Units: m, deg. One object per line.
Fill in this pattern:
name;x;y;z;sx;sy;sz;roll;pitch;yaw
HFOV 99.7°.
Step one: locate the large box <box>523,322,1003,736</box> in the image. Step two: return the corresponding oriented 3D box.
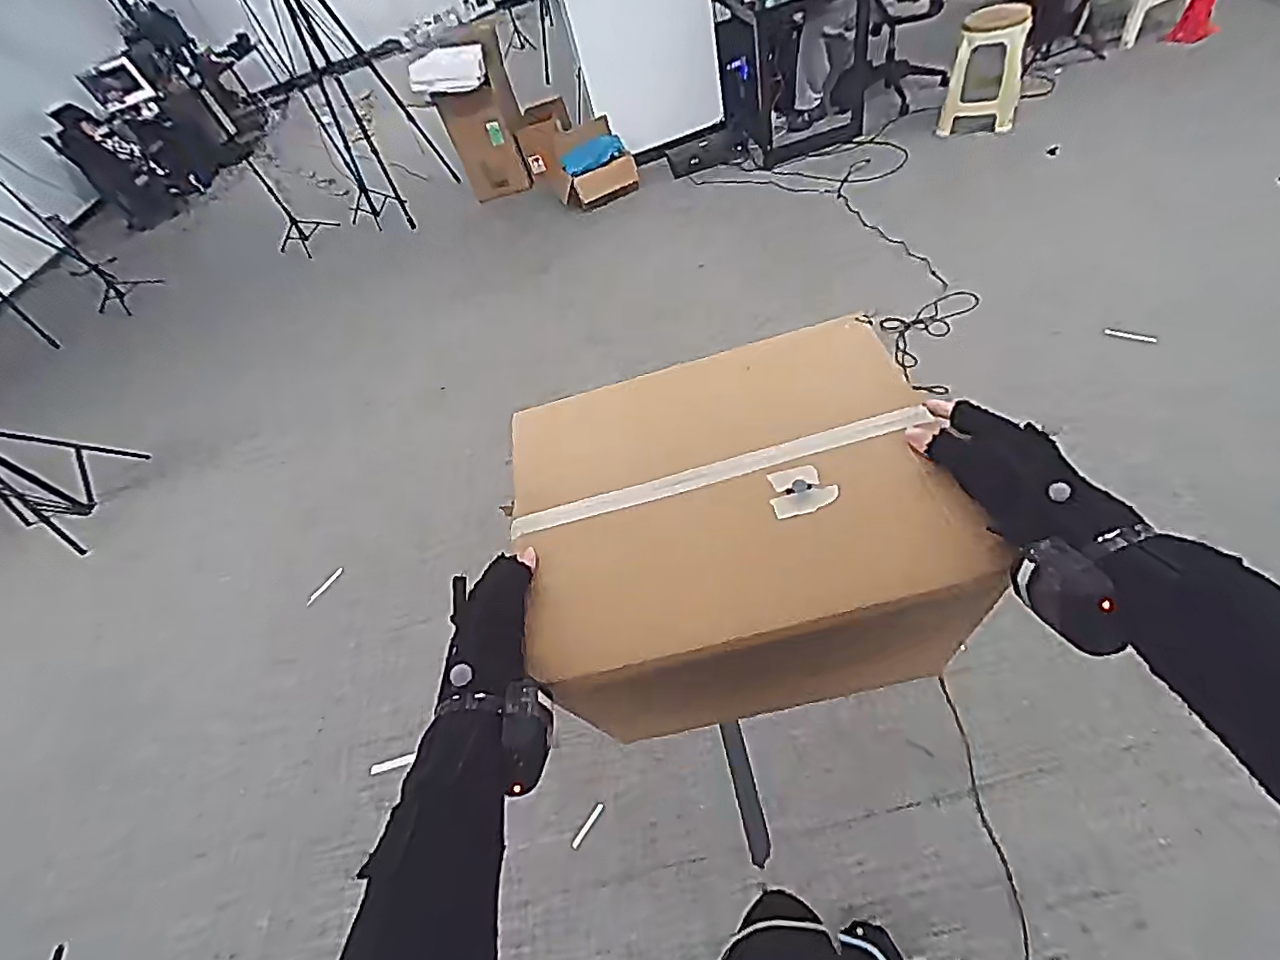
large box;0.109;0.077;0.652;0.408;0.320;0.320;-15;54;4
